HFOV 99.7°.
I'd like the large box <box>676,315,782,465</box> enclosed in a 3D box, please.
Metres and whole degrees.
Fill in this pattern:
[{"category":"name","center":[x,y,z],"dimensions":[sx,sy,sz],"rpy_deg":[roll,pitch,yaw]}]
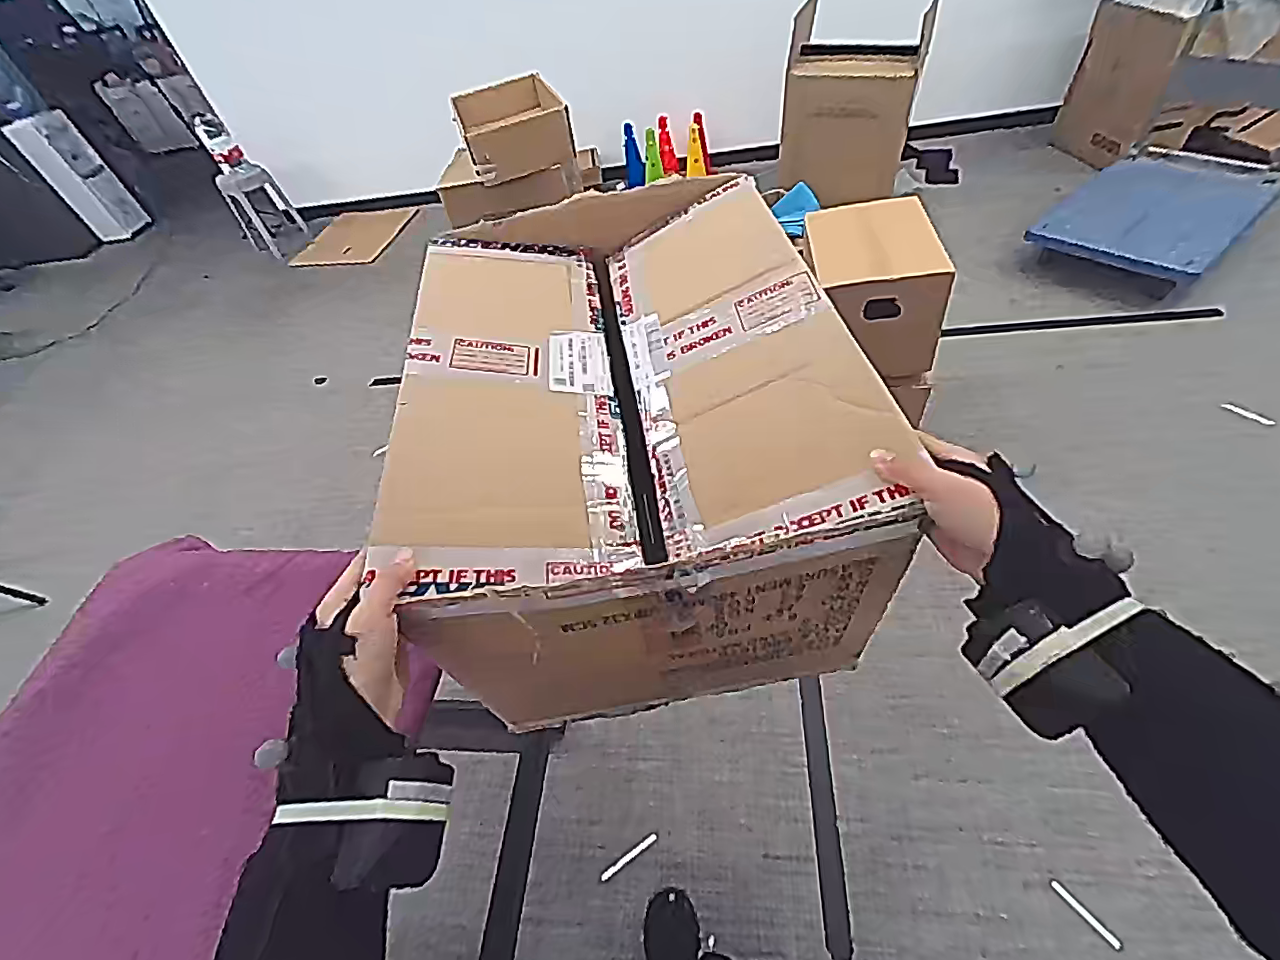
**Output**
[{"category":"large box","center":[0.293,-0.306,1.840],"dimensions":[0.320,0.320,0.408],"rpy_deg":[-4,50,9]}]
